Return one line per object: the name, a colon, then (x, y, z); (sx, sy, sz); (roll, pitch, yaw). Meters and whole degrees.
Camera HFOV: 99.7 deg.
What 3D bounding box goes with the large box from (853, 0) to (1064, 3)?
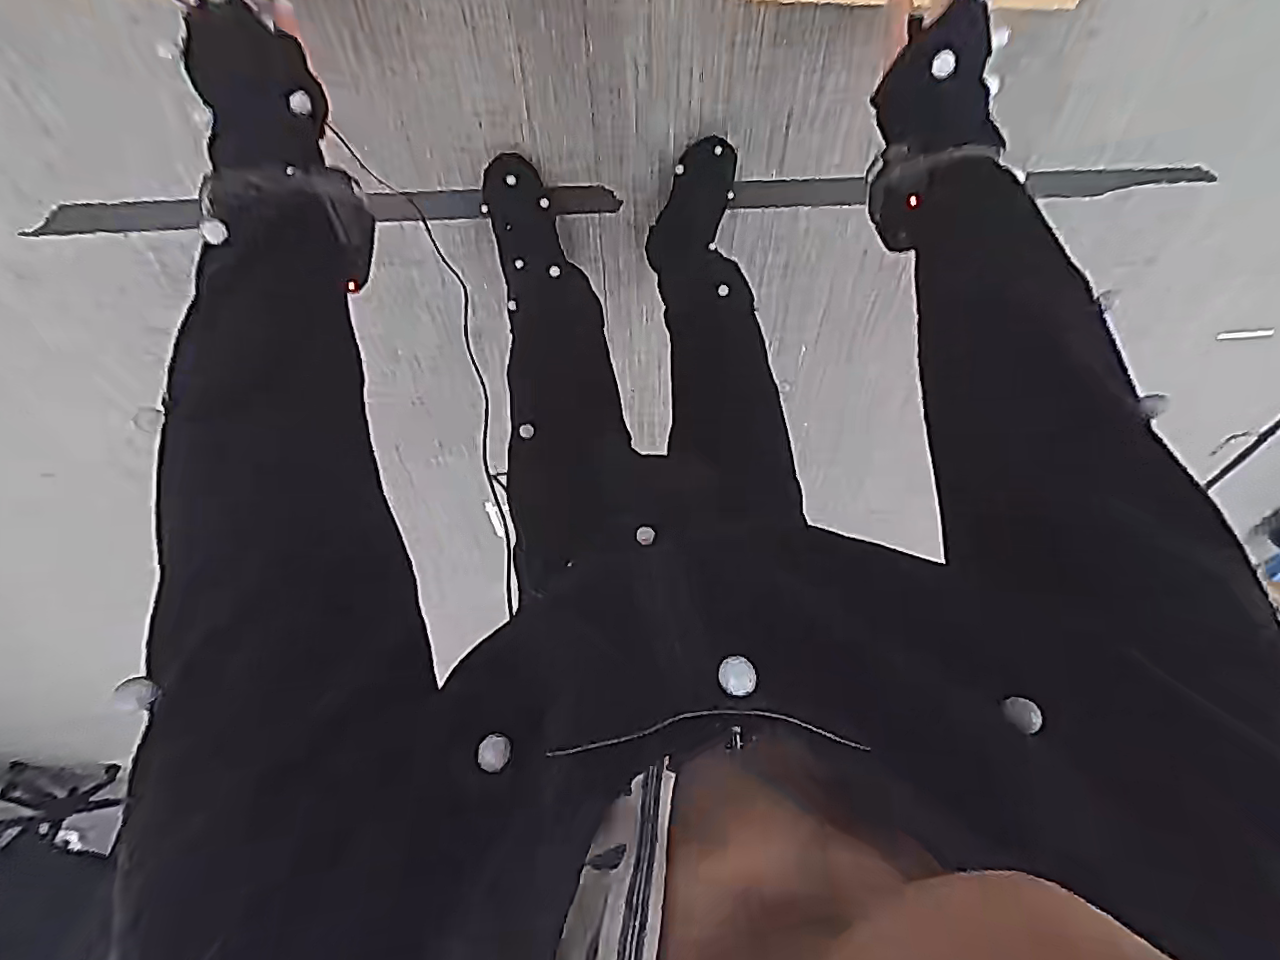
large box: (0.282, -0.743, 0.583); (0.408, 0.320, 0.320); (-3, 138, -6)
